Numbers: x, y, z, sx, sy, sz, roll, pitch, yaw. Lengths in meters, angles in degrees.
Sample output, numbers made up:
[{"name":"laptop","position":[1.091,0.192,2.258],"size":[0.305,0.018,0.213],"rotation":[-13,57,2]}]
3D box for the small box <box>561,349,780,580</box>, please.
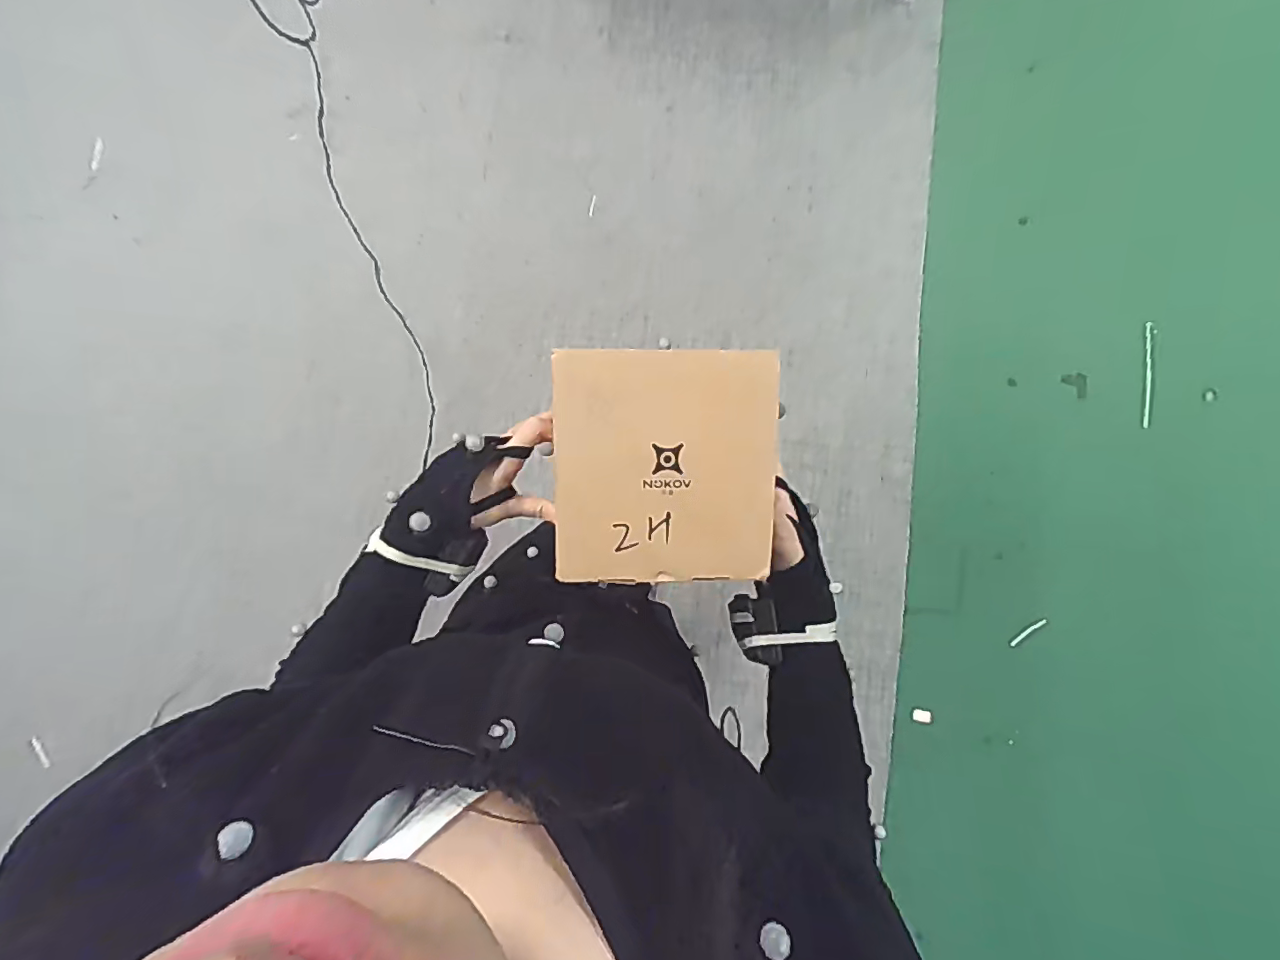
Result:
[{"name":"small box","position":[0.015,-0.021,0.486],"size":[0.168,0.176,0.179],"rotation":[0,101,-4]}]
